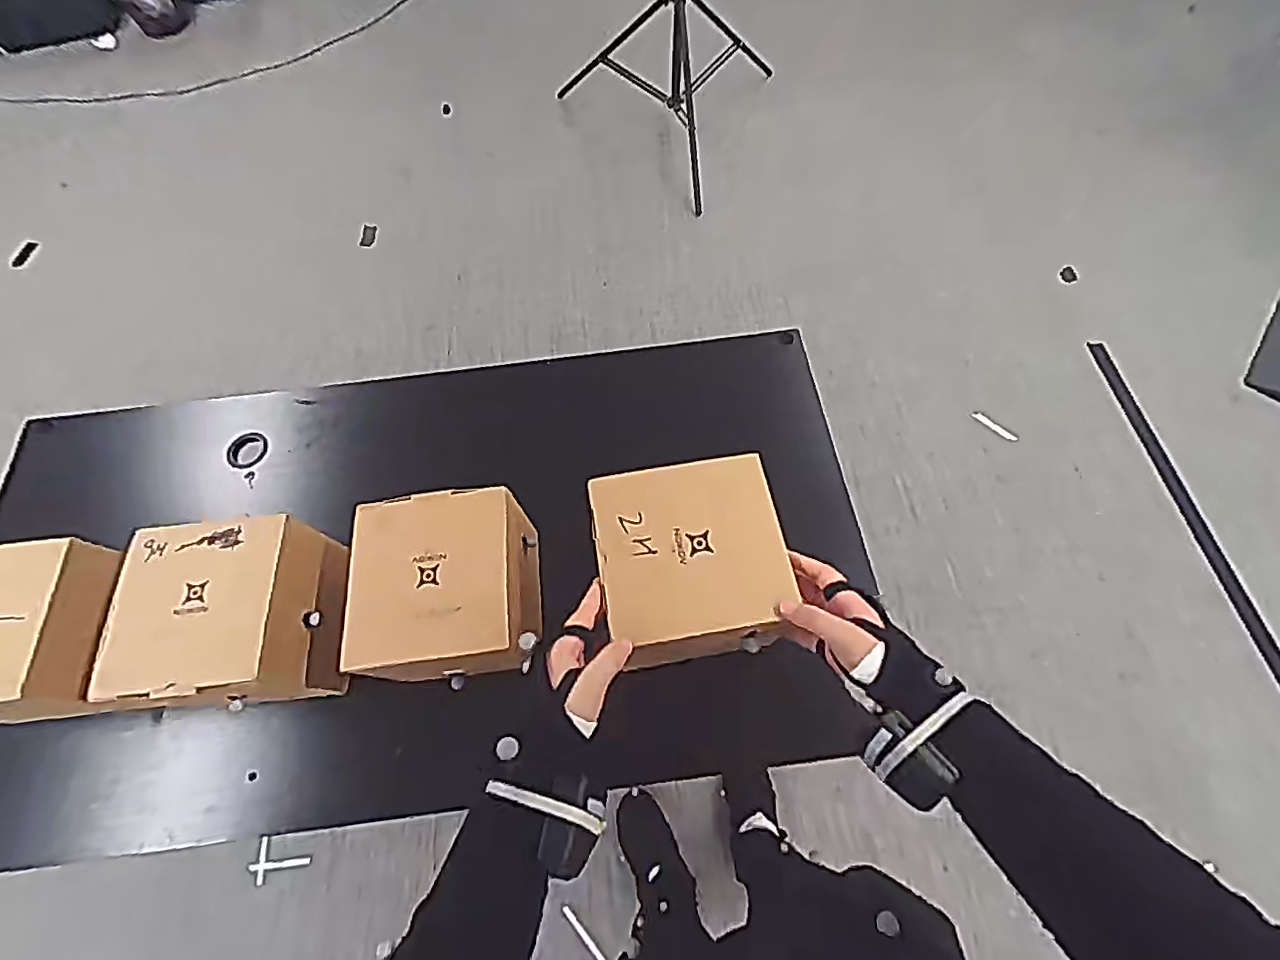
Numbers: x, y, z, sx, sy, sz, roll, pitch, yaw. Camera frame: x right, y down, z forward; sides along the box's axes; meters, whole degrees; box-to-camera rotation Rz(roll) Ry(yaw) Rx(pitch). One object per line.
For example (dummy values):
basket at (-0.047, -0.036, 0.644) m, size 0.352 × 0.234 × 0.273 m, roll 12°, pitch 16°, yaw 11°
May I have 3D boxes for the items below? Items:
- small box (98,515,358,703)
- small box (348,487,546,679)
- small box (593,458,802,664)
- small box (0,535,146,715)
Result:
small box at (-0.447, 0.156, 0.626) m, size 0.168 × 0.176 × 0.179 m, roll -6°, pitch 66°, yaw -2°
small box at (-0.210, 0.127, 0.633) m, size 0.168 × 0.176 × 0.179 m, roll -8°, pitch 67°, yaw -1°
small box at (0.050, 0.095, 0.584) m, size 0.179 × 0.176 × 0.168 m, roll -9°, pitch 65°, yaw -3°
small box at (-0.678, 0.174, 0.624) m, size 0.179 × 0.176 × 0.168 m, roll -6°, pitch 66°, yaw -2°
